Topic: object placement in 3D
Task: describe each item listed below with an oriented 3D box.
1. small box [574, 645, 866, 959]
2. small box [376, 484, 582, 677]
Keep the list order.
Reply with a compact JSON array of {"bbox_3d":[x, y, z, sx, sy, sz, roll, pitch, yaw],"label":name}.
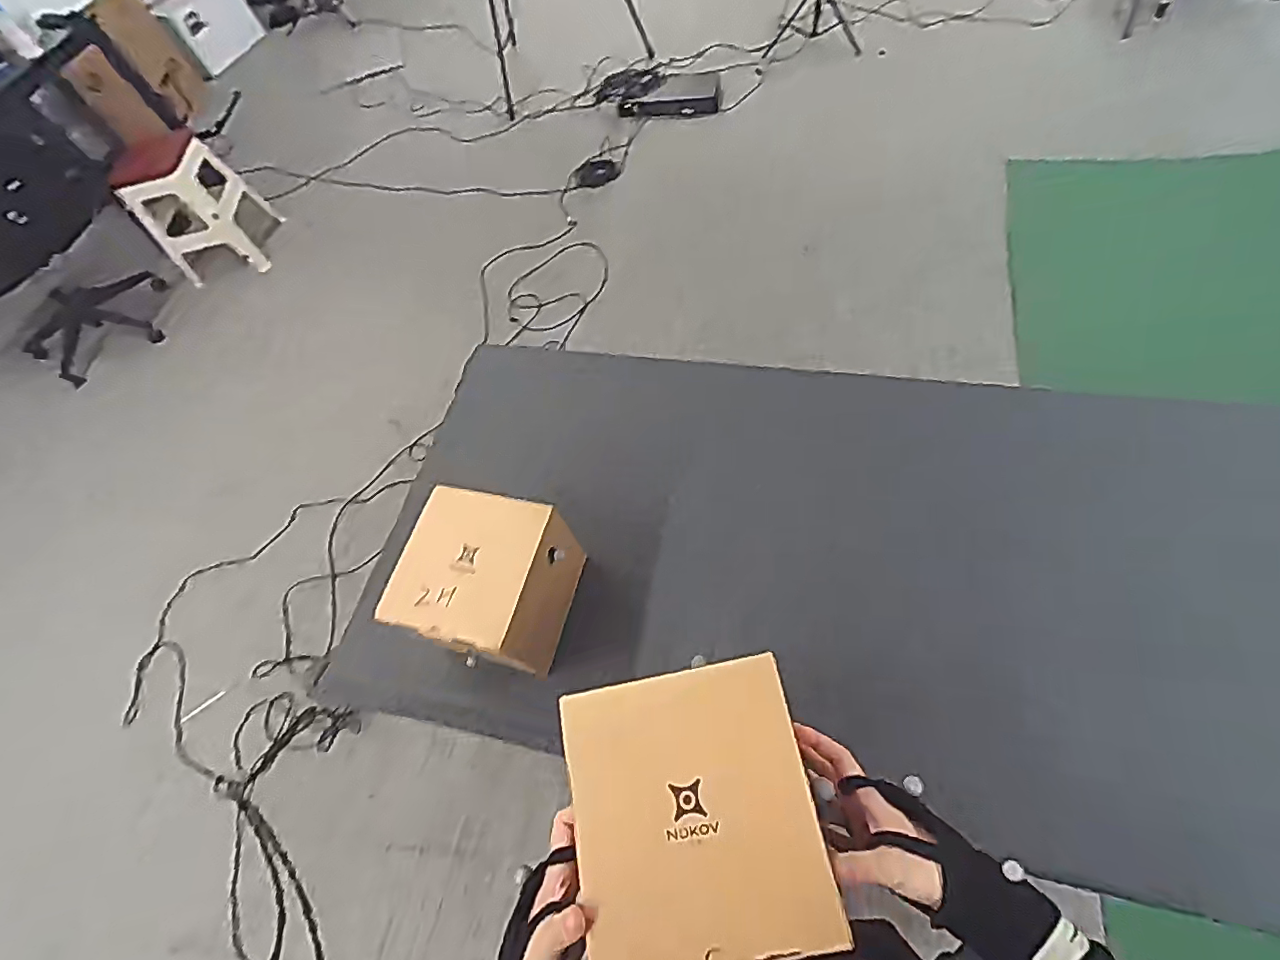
[{"bbox_3d":[0.055,0.245,0.434,0.168,0.176,0.179,-14,66,5],"label":"small box"},{"bbox_3d":[-0.185,0.131,0.687,0.168,0.176,0.179,10,63,15],"label":"small box"}]
